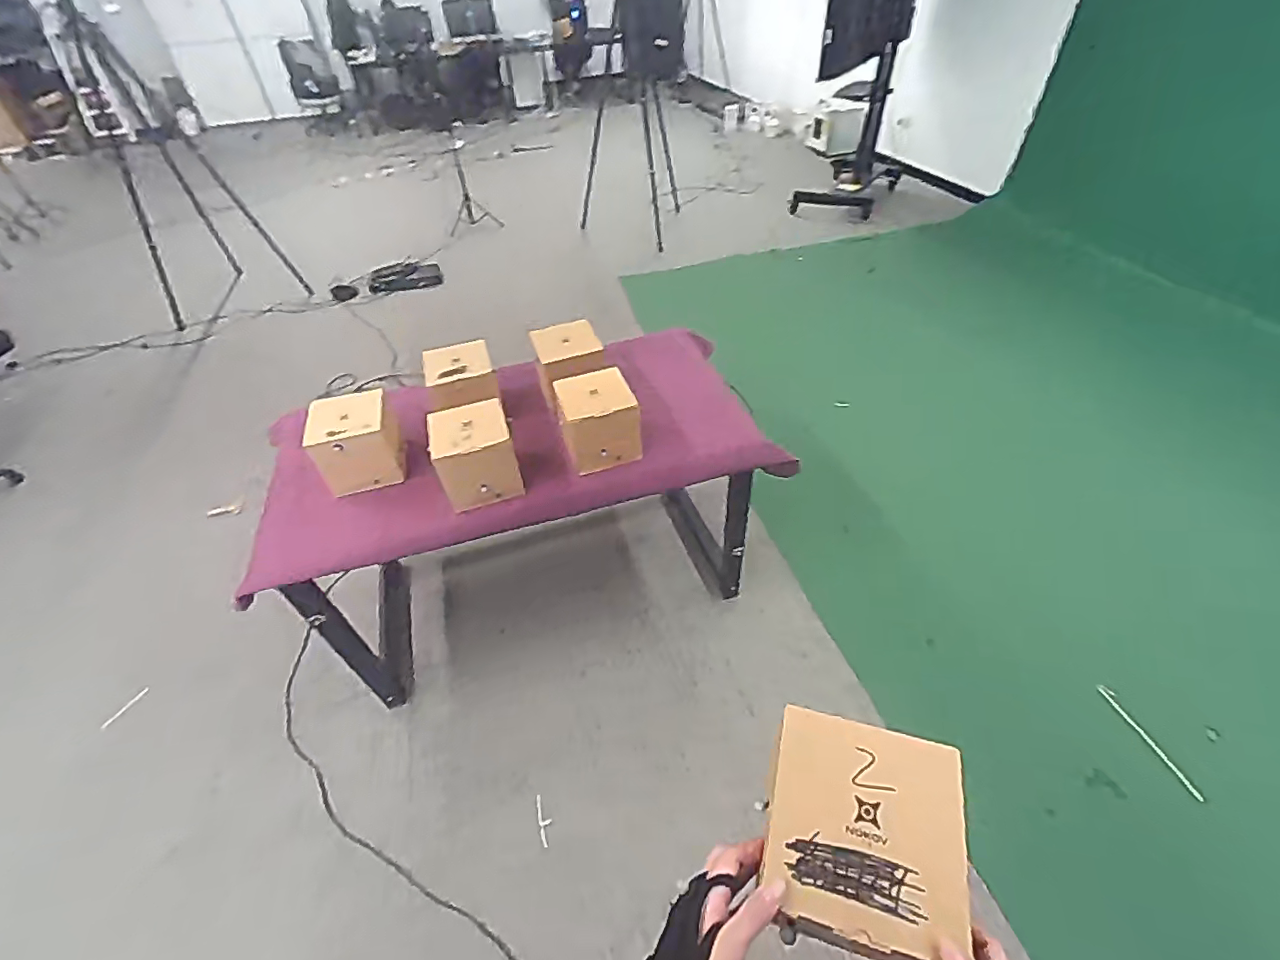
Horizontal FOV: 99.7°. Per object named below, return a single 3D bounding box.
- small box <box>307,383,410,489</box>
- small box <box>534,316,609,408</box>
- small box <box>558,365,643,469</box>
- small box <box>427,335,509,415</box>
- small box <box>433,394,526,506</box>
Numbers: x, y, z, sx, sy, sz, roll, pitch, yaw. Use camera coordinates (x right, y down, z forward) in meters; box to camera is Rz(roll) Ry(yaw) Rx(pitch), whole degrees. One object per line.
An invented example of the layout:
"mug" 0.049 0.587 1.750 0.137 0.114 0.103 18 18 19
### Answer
"small box" -0.671 -0.107 1.311 0.168 0.176 0.179 -15 46 -9
"small box" -0.187 -0.326 1.503 0.168 0.176 0.179 -16 48 -11
"small box" -0.095 -0.154 1.325 0.168 0.176 0.179 -15 46 -11
"small box" -0.458 -0.258 1.451 0.168 0.176 0.179 -15 46 -11
"small box" -0.371 -0.070 1.256 0.168 0.176 0.179 -15 46 -11
